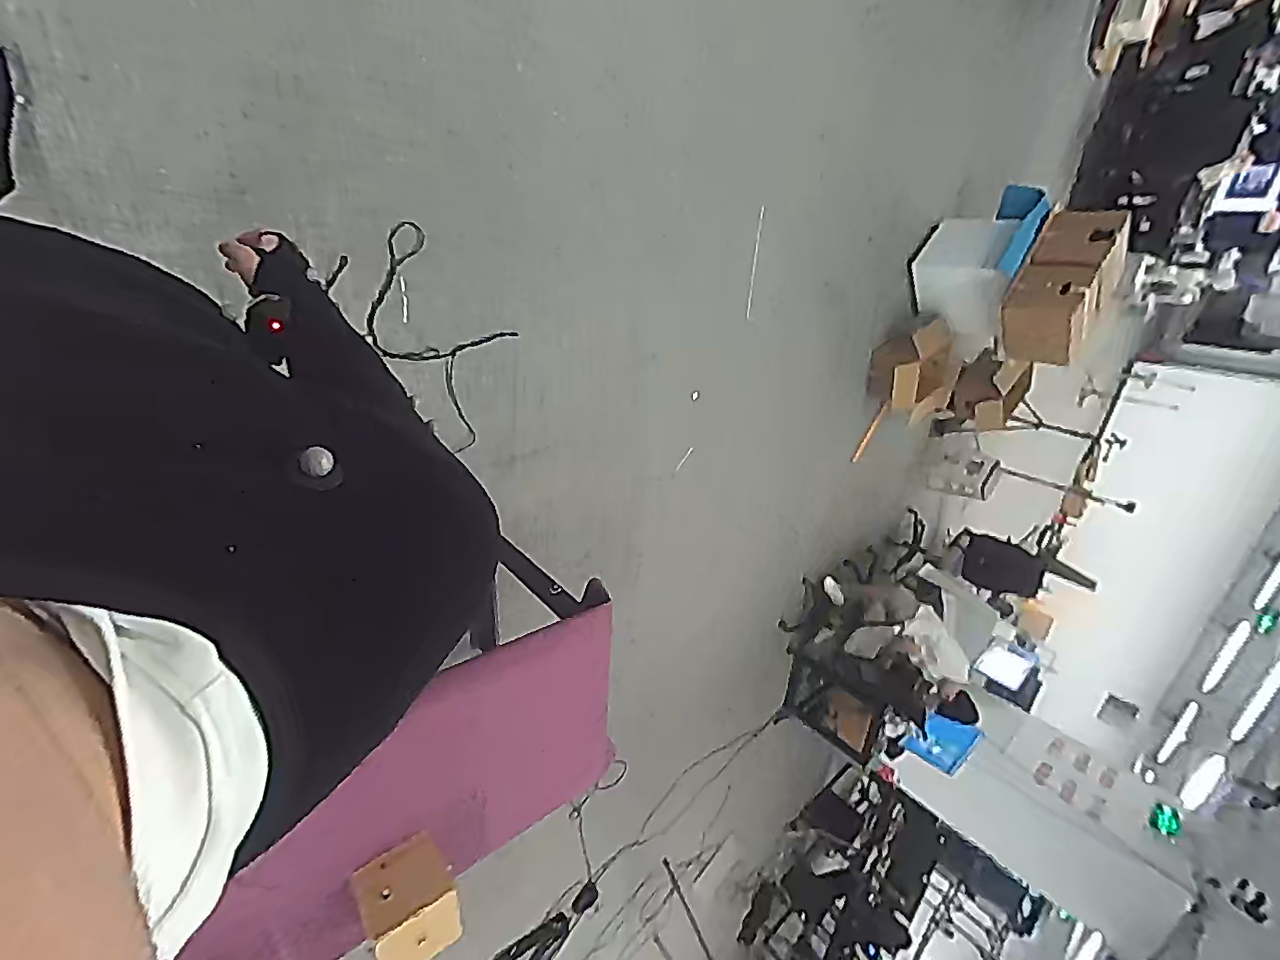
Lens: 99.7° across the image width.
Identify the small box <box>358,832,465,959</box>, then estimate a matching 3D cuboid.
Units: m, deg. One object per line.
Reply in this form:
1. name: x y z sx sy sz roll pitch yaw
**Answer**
1. small box: -0.502 0.922 1.186 0.168 0.176 0.179 -16 121 -37
